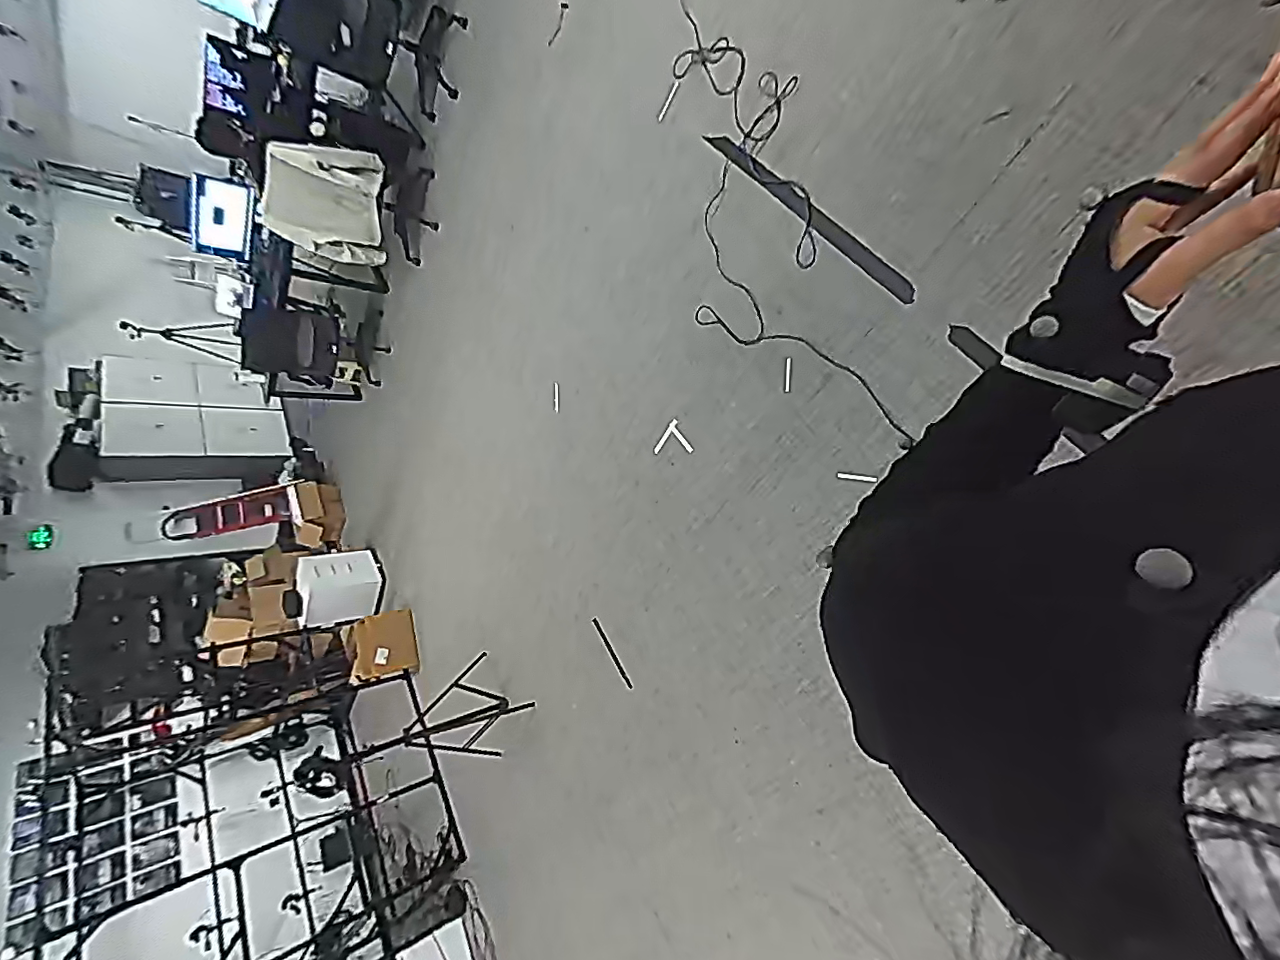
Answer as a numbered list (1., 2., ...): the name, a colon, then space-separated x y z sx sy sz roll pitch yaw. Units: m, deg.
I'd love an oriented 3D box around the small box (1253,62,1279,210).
1. small box: 0.411 -0.230 0.228 0.179 0.176 0.168 10 105 41
